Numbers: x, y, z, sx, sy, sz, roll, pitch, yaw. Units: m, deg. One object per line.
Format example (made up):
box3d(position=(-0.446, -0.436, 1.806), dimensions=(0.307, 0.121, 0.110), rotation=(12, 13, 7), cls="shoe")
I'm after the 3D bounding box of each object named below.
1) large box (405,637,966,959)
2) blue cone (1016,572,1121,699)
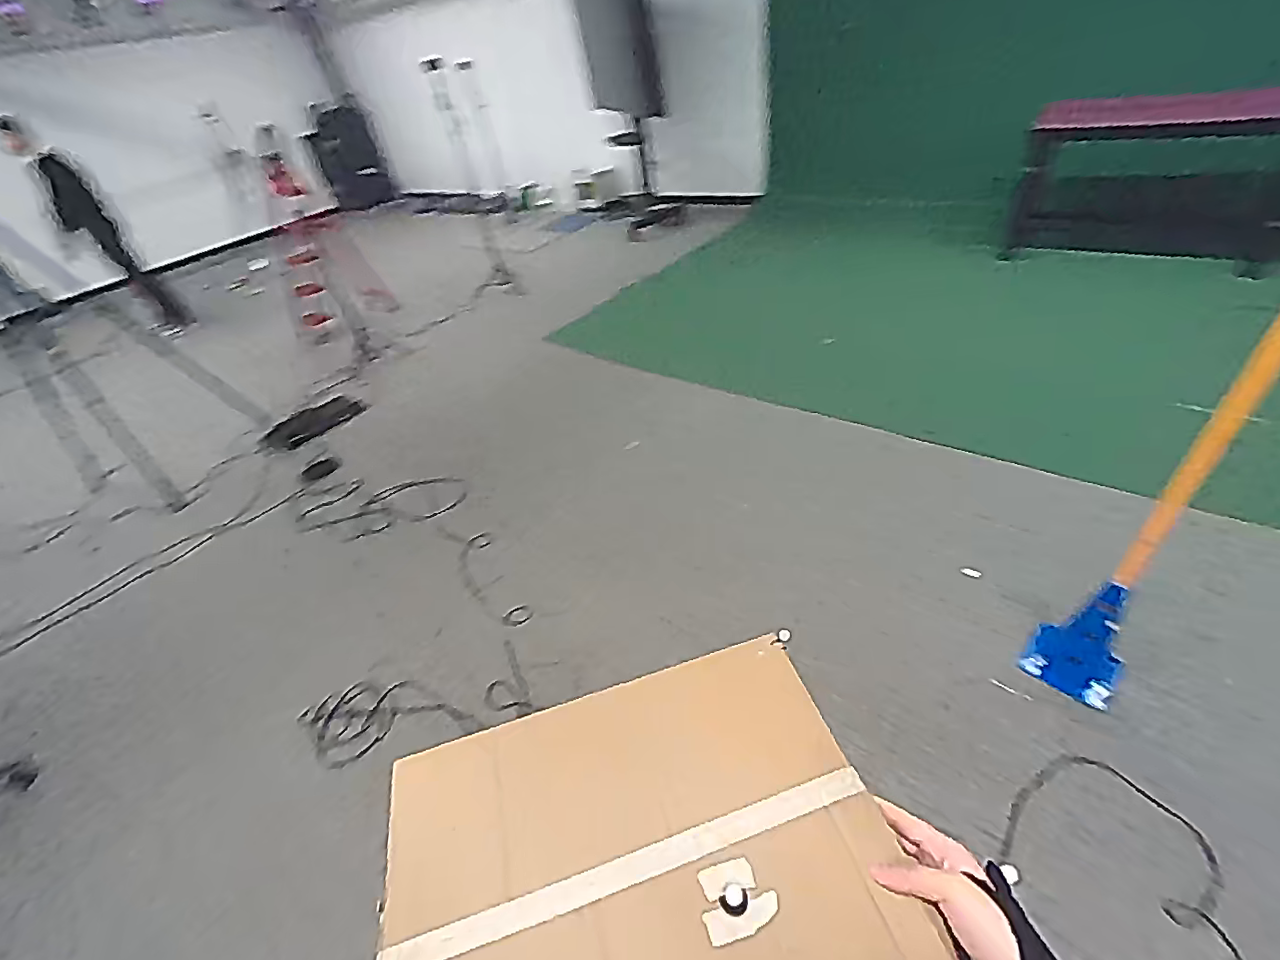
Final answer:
box3d(position=(0.020, 0.425, 0.546), dimensions=(0.408, 0.320, 0.320), rotation=(-14, 42, -8), cls="large box")
box3d(position=(1.165, 0.383, 1.420), dimensions=(0.192, 0.380, 0.193), rotation=(-35, 44, -27), cls="blue cone")
